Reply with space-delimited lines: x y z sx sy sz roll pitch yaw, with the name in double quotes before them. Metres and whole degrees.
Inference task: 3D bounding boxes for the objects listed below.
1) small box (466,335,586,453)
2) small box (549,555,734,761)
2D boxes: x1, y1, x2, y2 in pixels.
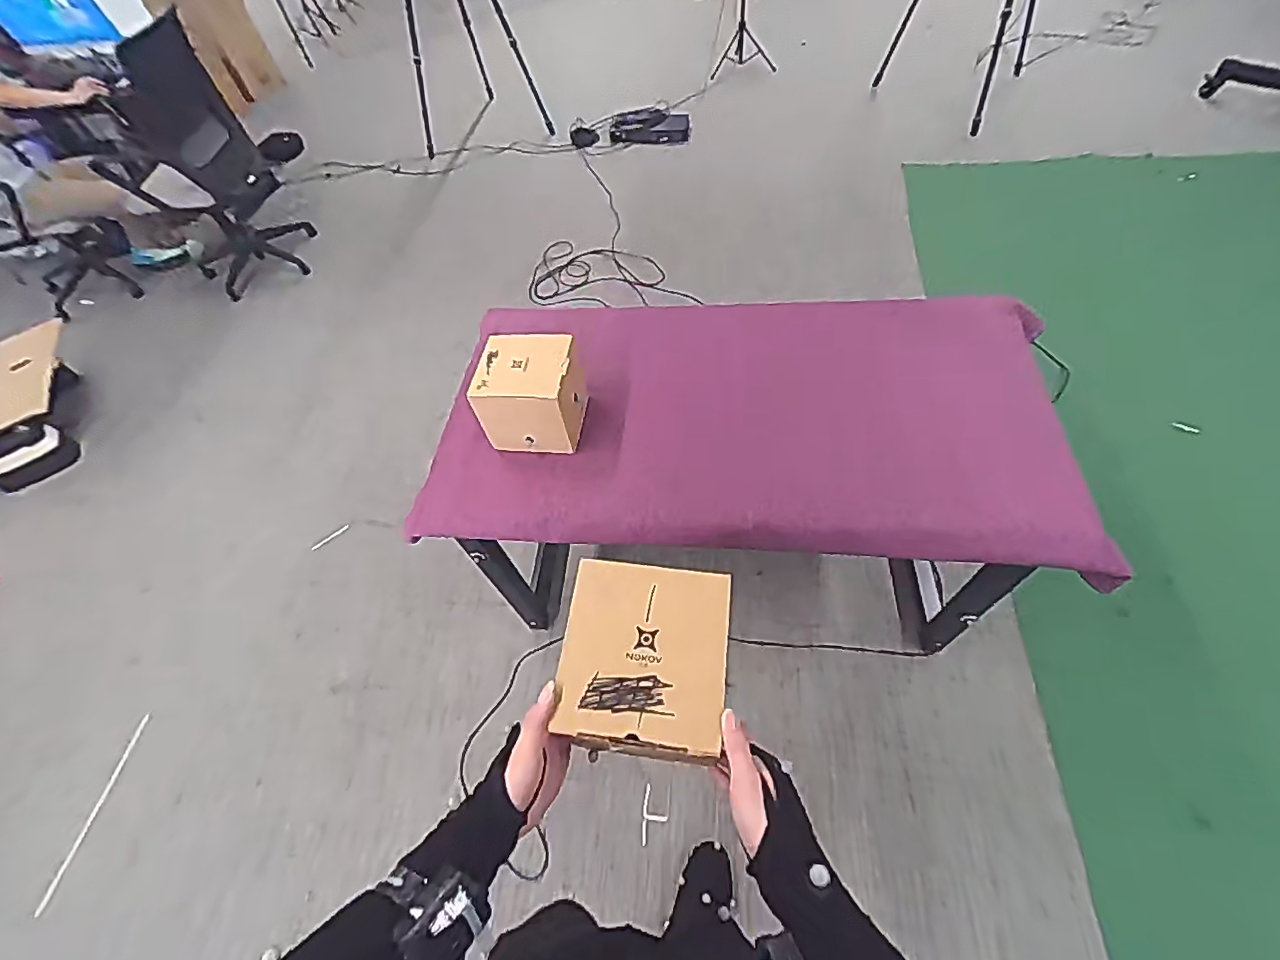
"small box" -0.214 -0.167 1.077 0.179 0.176 0.168 4 56 8
"small box" 0.010 0.204 0.602 0.168 0.176 0.179 6 59 5
